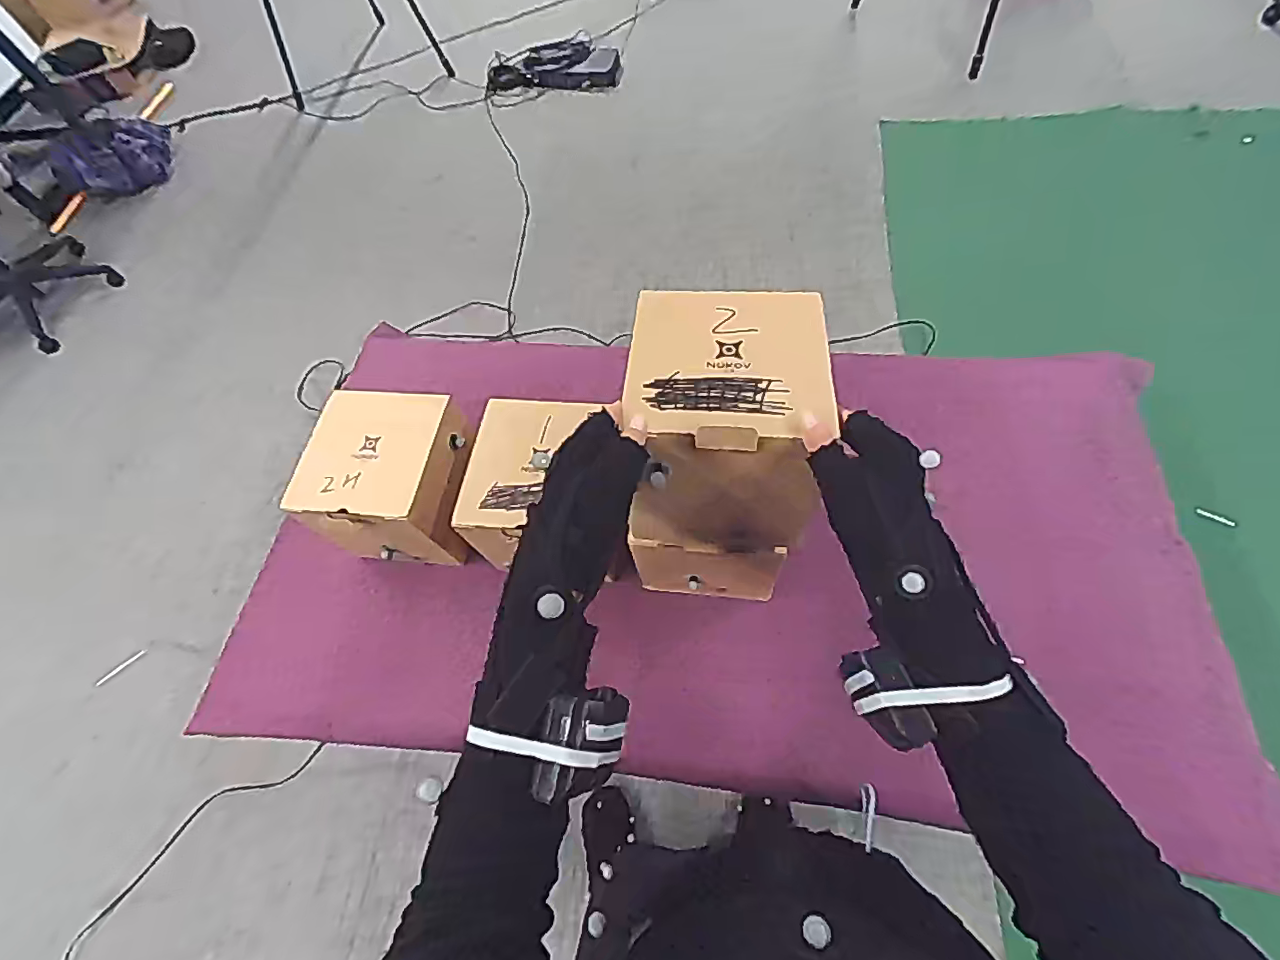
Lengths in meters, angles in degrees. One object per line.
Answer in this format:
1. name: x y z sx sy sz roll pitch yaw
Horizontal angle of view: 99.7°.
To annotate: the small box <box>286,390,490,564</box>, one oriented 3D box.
1. small box: -0.322 -0.001 0.737 0.168 0.176 0.179 4 64 9
